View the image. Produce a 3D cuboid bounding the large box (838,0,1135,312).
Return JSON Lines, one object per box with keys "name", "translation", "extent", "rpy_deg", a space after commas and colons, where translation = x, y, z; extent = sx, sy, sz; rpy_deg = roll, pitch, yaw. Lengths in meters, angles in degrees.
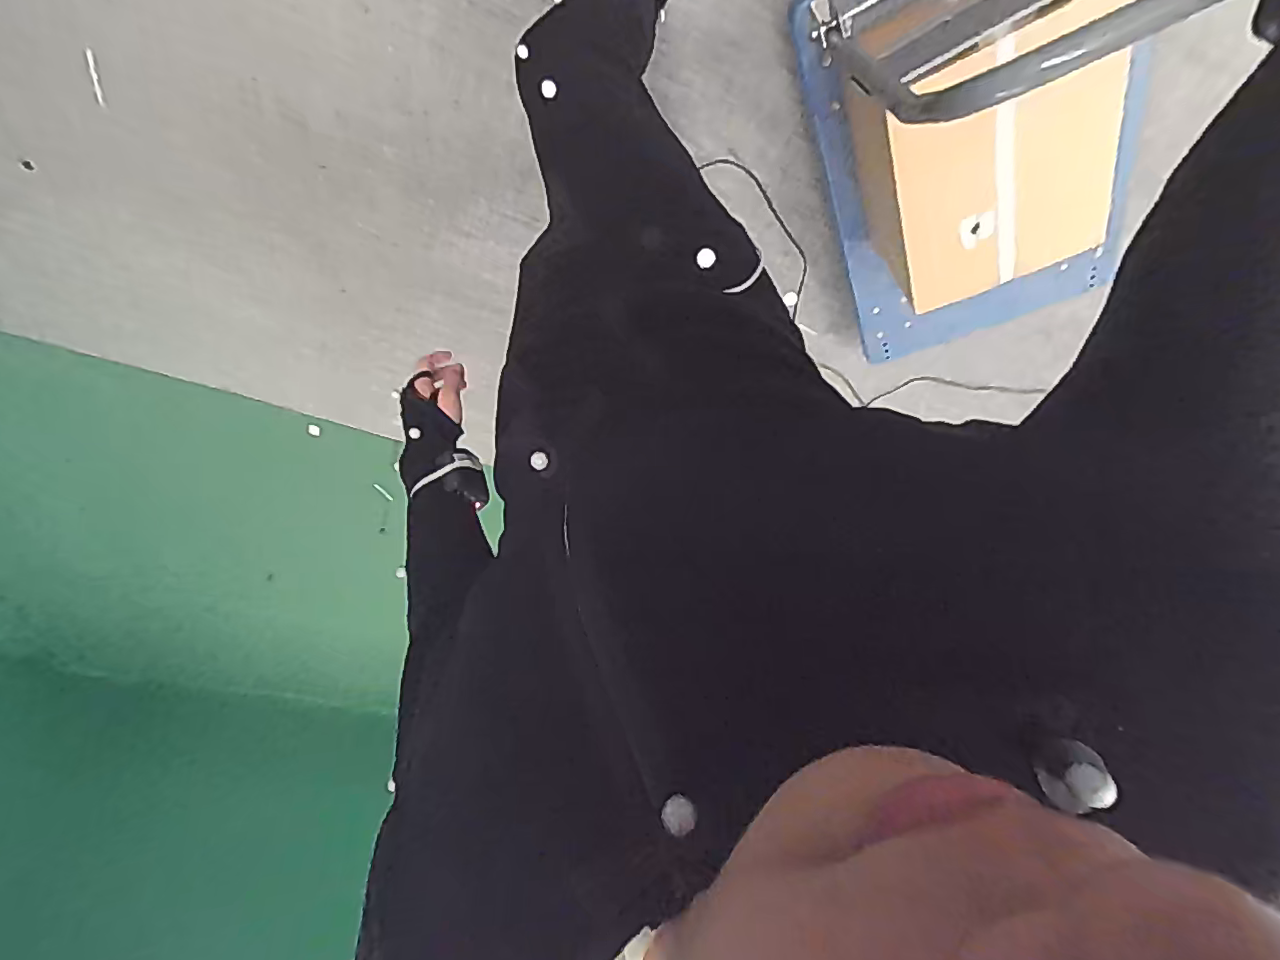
{"name": "large box", "translation": [0.582, -0.597, 0.962], "extent": [0.320, 0.320, 0.408], "rpy_deg": [-18, 137, 21]}
